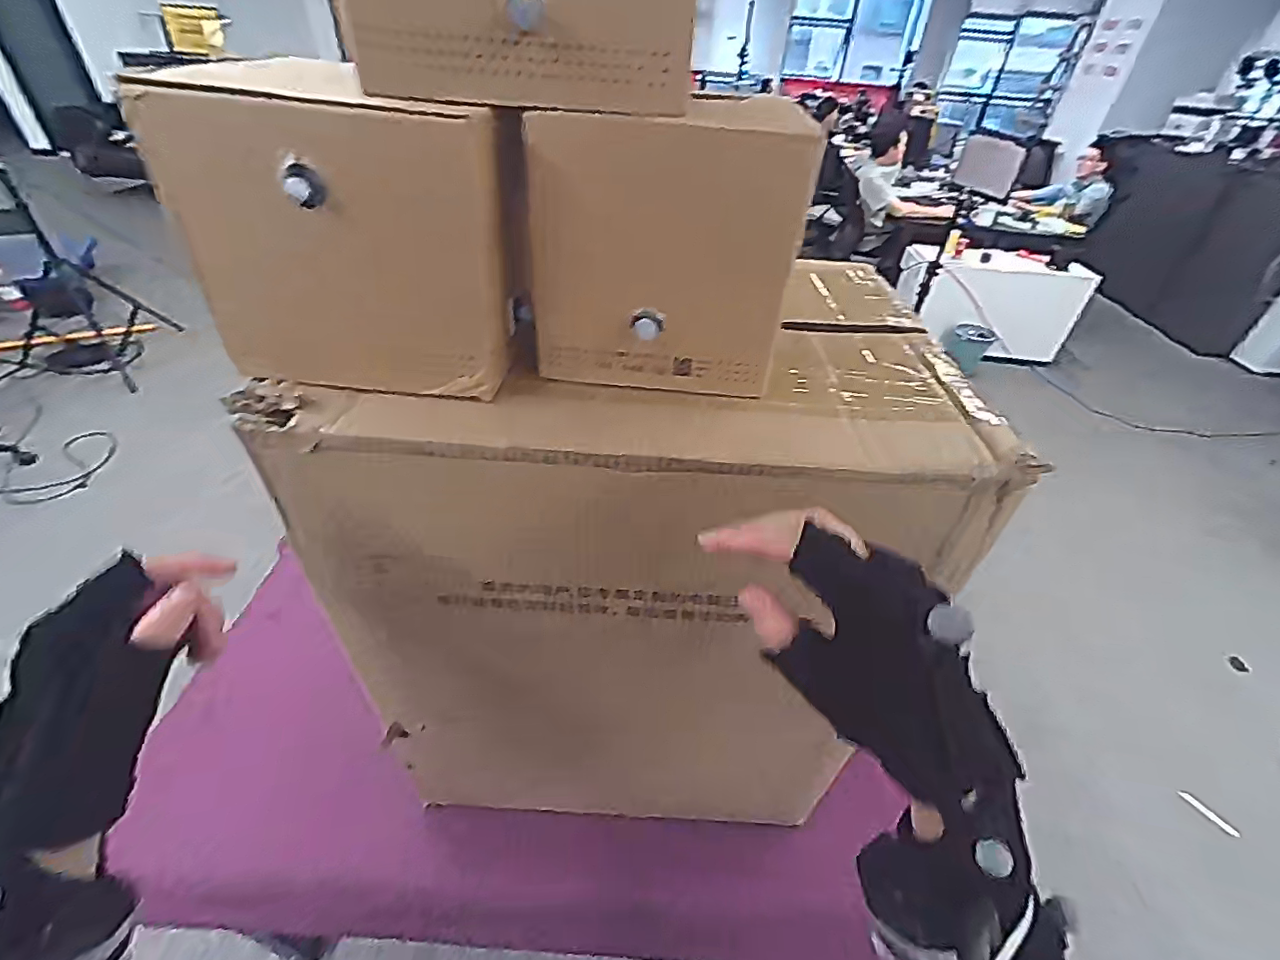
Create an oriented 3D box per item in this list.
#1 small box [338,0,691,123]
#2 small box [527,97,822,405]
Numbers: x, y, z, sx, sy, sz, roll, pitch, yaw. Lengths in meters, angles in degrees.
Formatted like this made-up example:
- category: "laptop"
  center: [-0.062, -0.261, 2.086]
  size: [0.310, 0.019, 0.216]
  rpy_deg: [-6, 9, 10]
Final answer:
- category: "small box"
  center: [-0.063, -0.307, 0.299]
  size: [0.179, 0.176, 0.168]
  rpy_deg: [-1, 41, -8]
- category: "small box"
  center: [0.020, -0.178, 0.407]
  size: [0.168, 0.176, 0.179]
  rpy_deg: [5, 41, 2]
